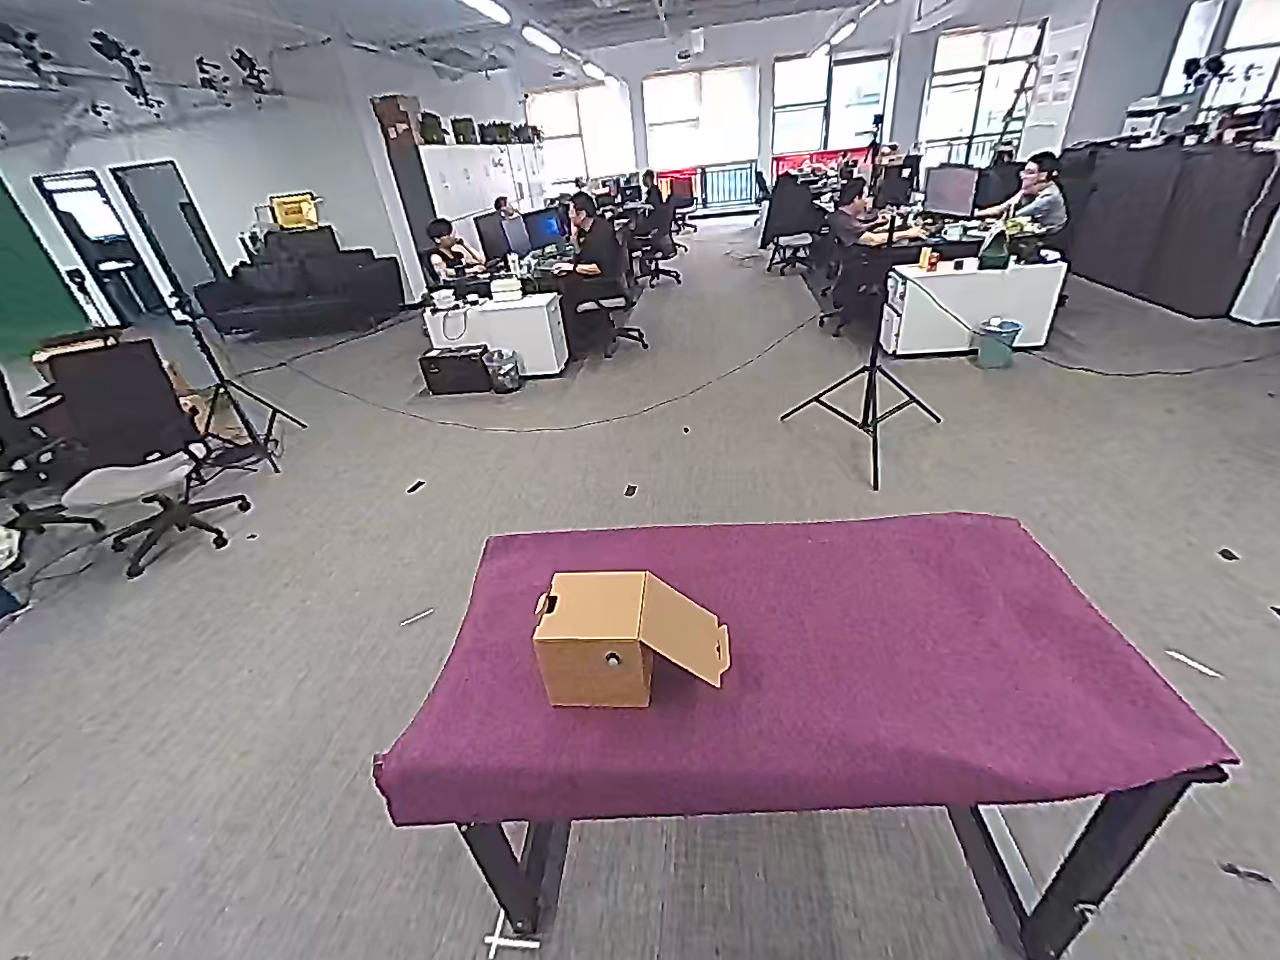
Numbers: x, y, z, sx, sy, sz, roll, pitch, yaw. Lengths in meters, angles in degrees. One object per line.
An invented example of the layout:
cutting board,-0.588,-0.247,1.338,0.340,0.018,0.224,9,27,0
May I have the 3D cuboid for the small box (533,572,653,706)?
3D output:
small box,-0.072,0.284,0.969,0.179,0.176,0.168,-3,30,8
